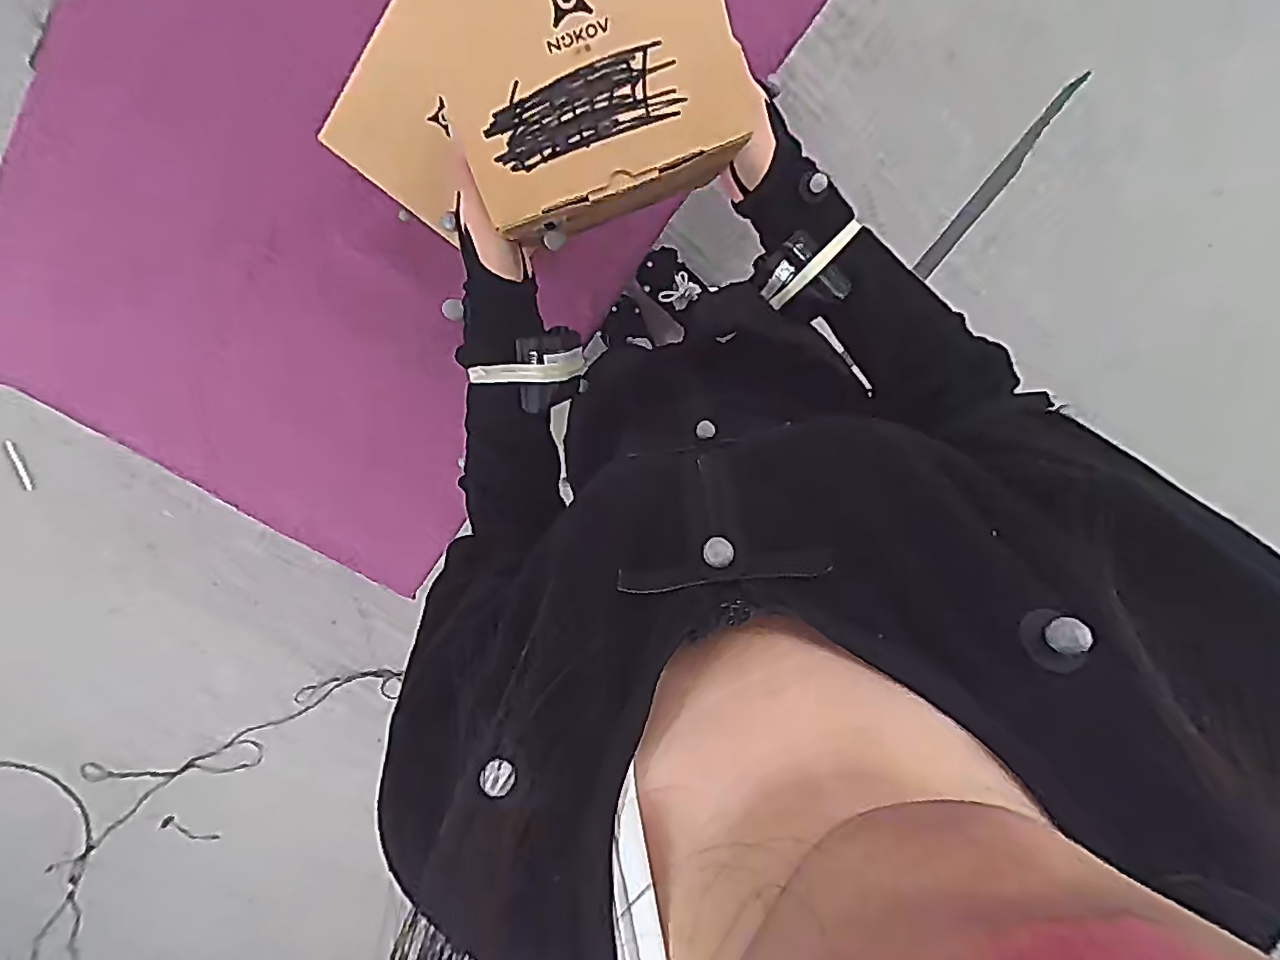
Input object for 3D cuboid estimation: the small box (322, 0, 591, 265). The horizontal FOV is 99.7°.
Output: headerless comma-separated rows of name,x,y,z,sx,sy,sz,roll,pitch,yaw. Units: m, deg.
small box,-0.167,-0.339,0.551,0.179,0.176,0.168,36,104,-14
